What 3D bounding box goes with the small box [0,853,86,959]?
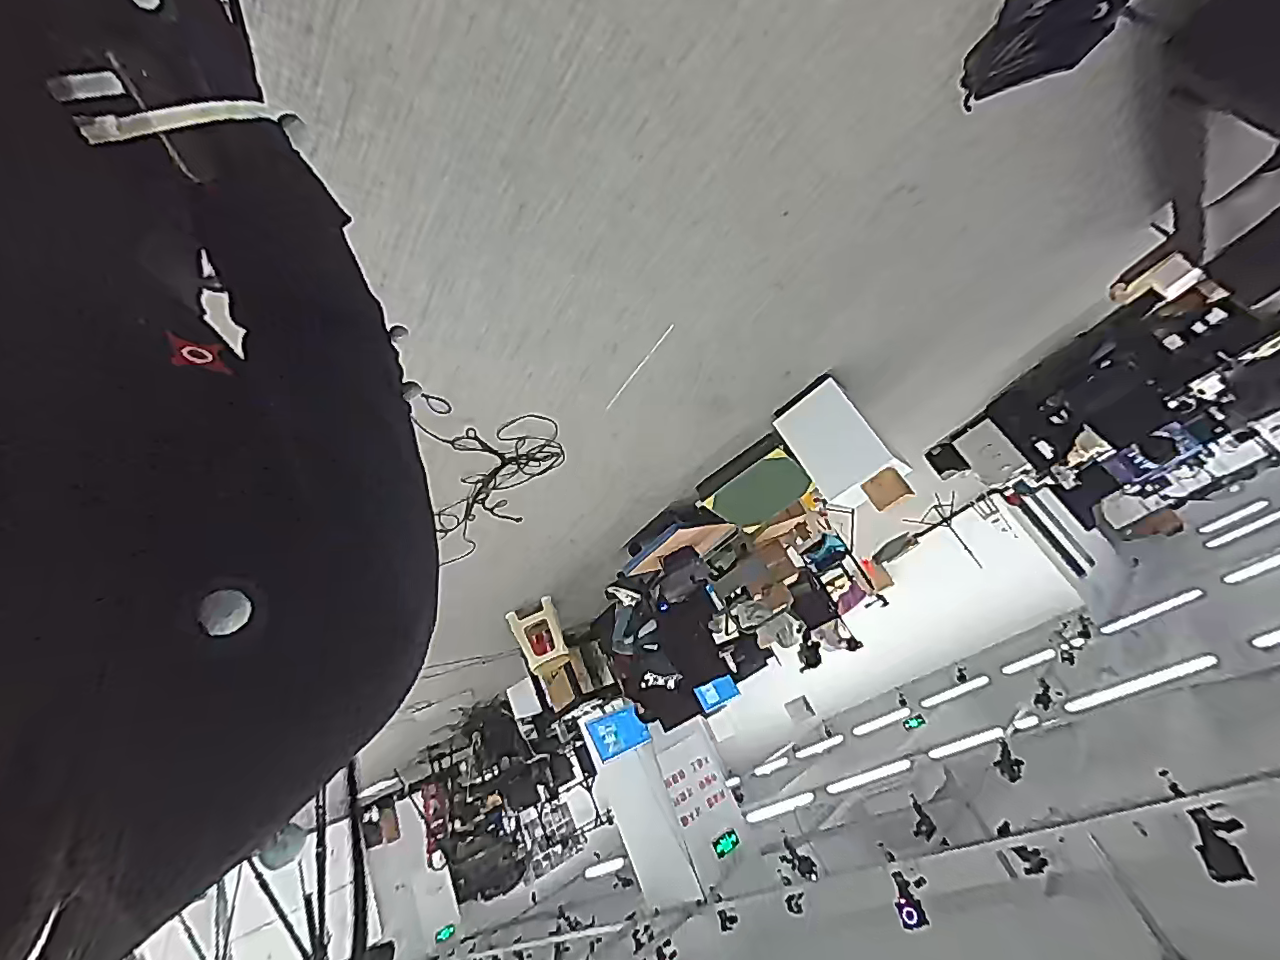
[{"bbox_3d":[-1.332,0.943,1.165,0.179,0.176,0.168,-5,146,-41],"label":"small box"}]
